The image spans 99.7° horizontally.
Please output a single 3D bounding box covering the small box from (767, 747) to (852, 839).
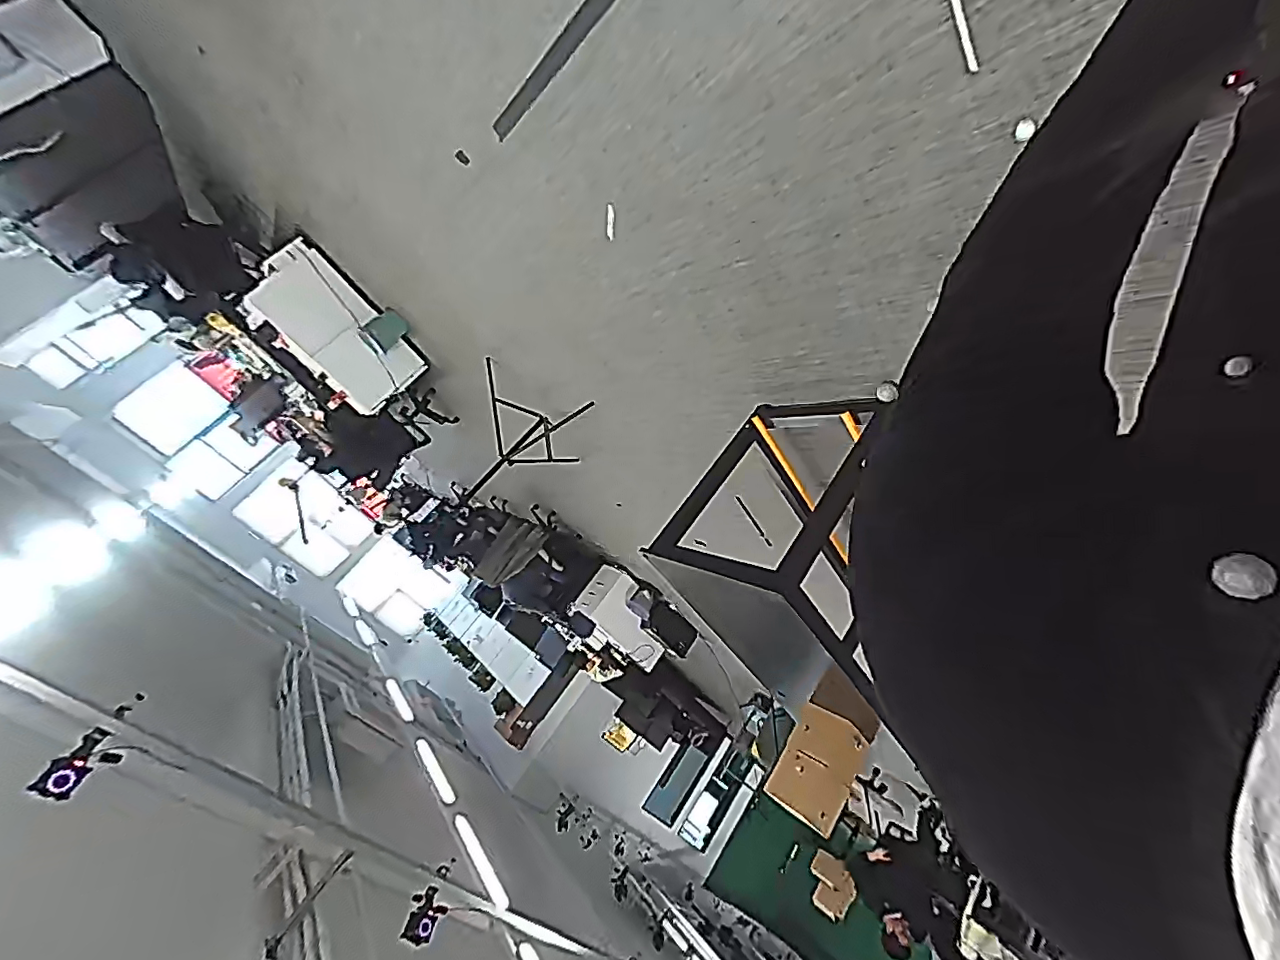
[{"bbox_3d":[0.560,1.020,1.773,0.179,0.176,0.168,49,158,-23],"label":"small box"}]

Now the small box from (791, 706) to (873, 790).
[{"bbox_3d":[0.654,0.899,1.835,0.168,0.176,0.179,48,157,-25],"label":"small box"}]
